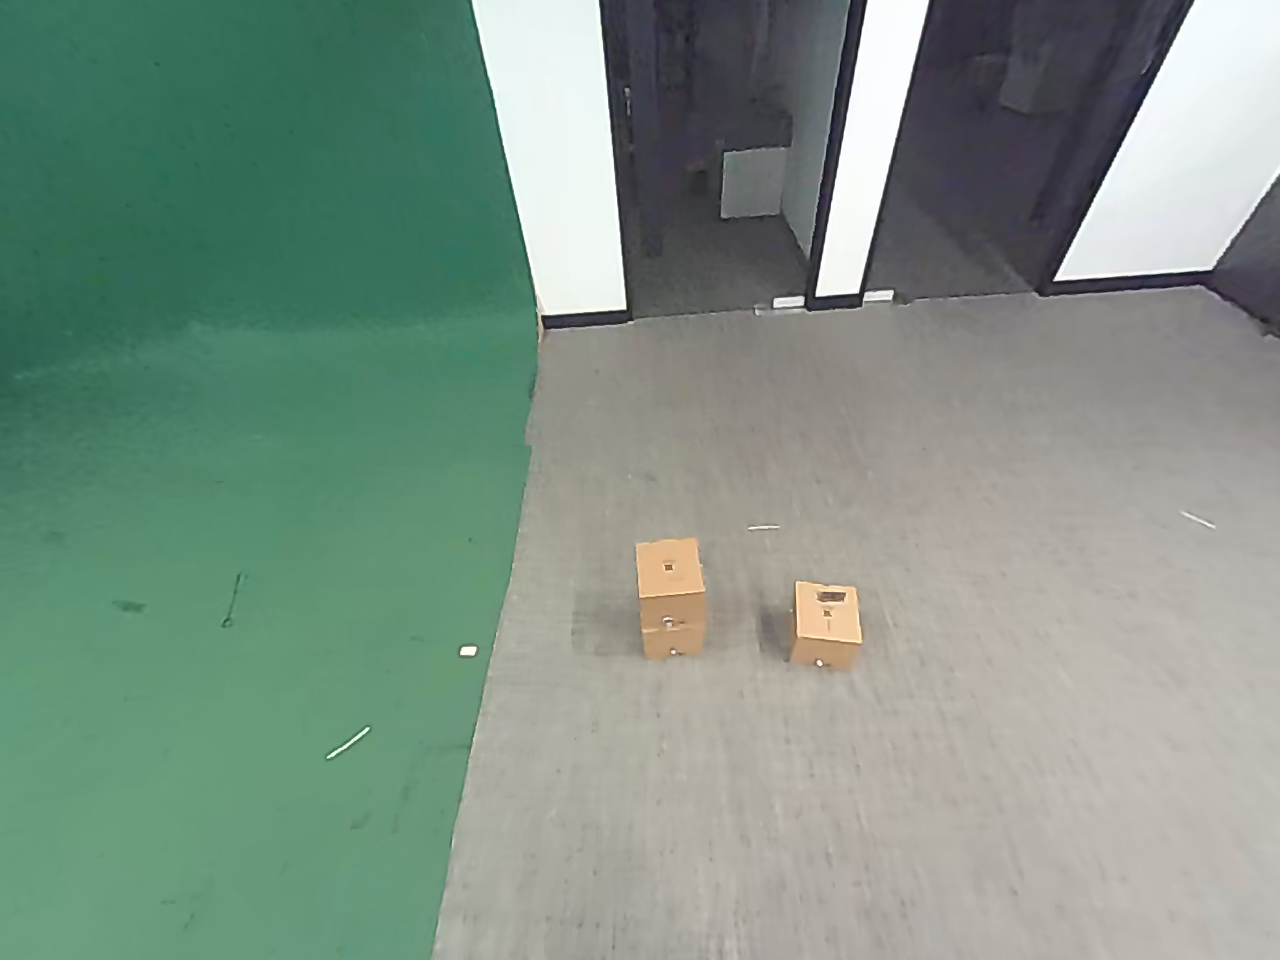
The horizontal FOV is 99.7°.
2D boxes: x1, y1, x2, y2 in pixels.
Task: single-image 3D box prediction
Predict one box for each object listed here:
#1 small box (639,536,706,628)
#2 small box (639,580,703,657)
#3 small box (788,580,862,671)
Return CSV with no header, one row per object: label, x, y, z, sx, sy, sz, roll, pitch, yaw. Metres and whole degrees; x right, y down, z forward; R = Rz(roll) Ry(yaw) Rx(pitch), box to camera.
small box,0.085,0.276,1.454,0.168,0.176,0.179,-5,44,2
small box,0.086,0.390,1.566,0.168,0.176,0.179,-5,46,-1
small box,0.511,0.407,1.515,0.168,0.176,0.179,5,47,10
